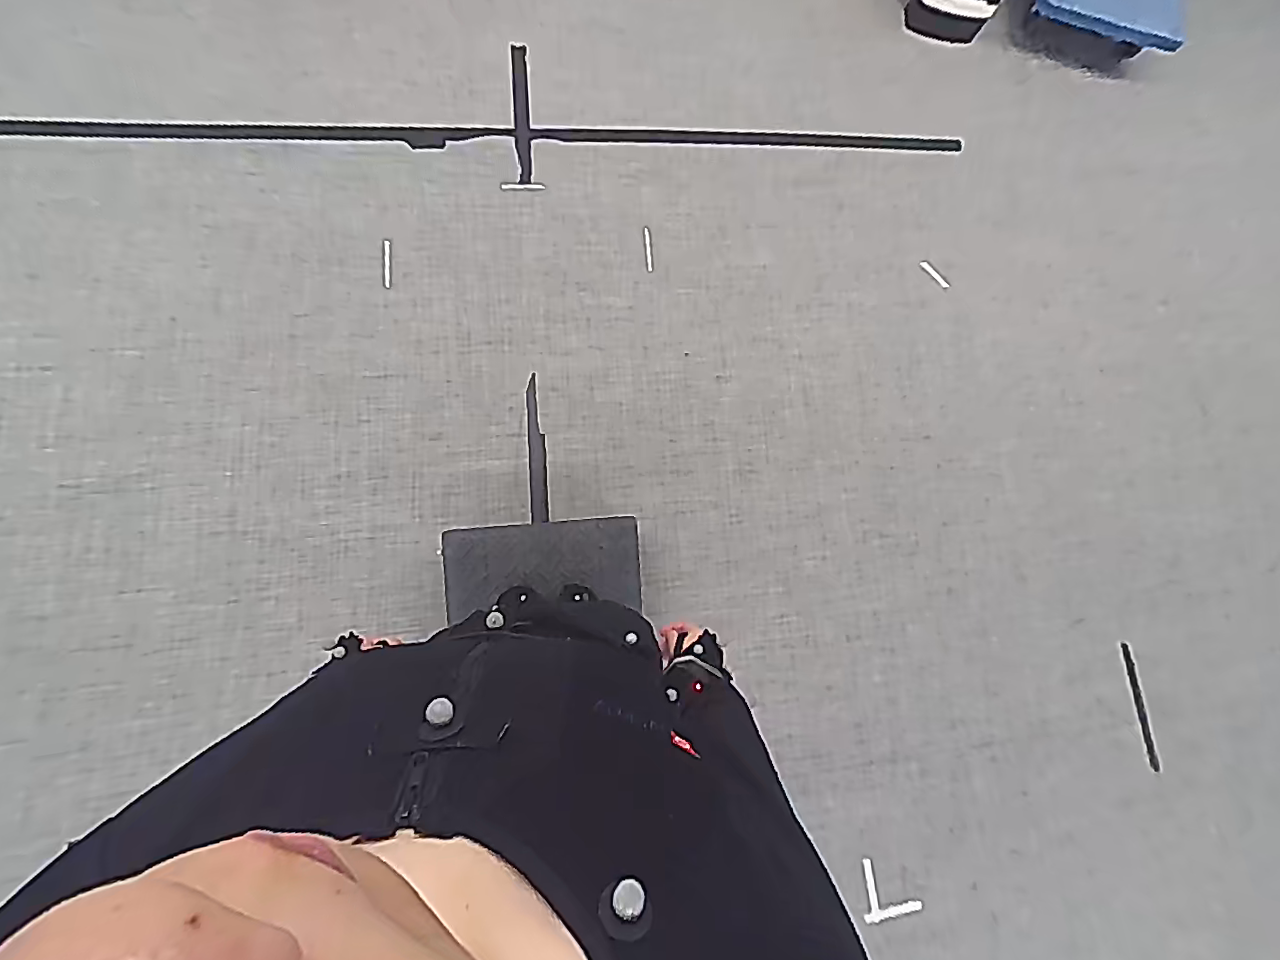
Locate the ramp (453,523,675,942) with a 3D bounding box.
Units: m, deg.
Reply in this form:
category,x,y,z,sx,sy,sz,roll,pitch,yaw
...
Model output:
category,x,y,z,sx,sy,sz,roll,pitch,yaw
ramp,-0.182,0.622,1.369,0.509,0.206,0.991,-6,80,-10
